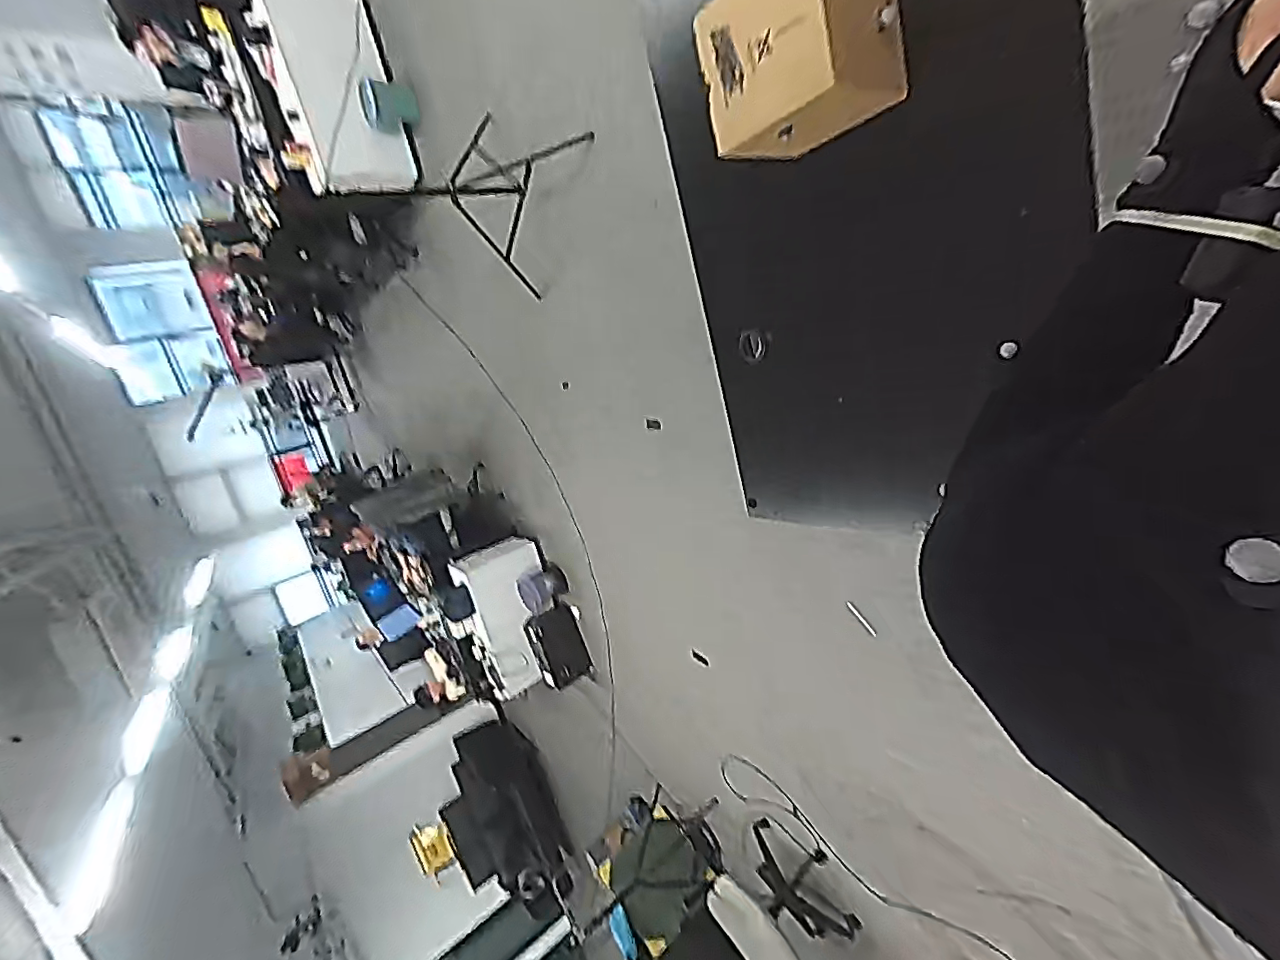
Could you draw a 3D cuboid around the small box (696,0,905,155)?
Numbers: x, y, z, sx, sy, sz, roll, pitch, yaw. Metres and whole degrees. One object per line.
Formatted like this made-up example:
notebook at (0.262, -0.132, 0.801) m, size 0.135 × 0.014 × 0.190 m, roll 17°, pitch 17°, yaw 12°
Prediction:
small box at (0.203, -0.534, 0.686) m, size 0.179 × 0.176 × 0.168 m, roll 3°, pitch 112°, yaw 54°
